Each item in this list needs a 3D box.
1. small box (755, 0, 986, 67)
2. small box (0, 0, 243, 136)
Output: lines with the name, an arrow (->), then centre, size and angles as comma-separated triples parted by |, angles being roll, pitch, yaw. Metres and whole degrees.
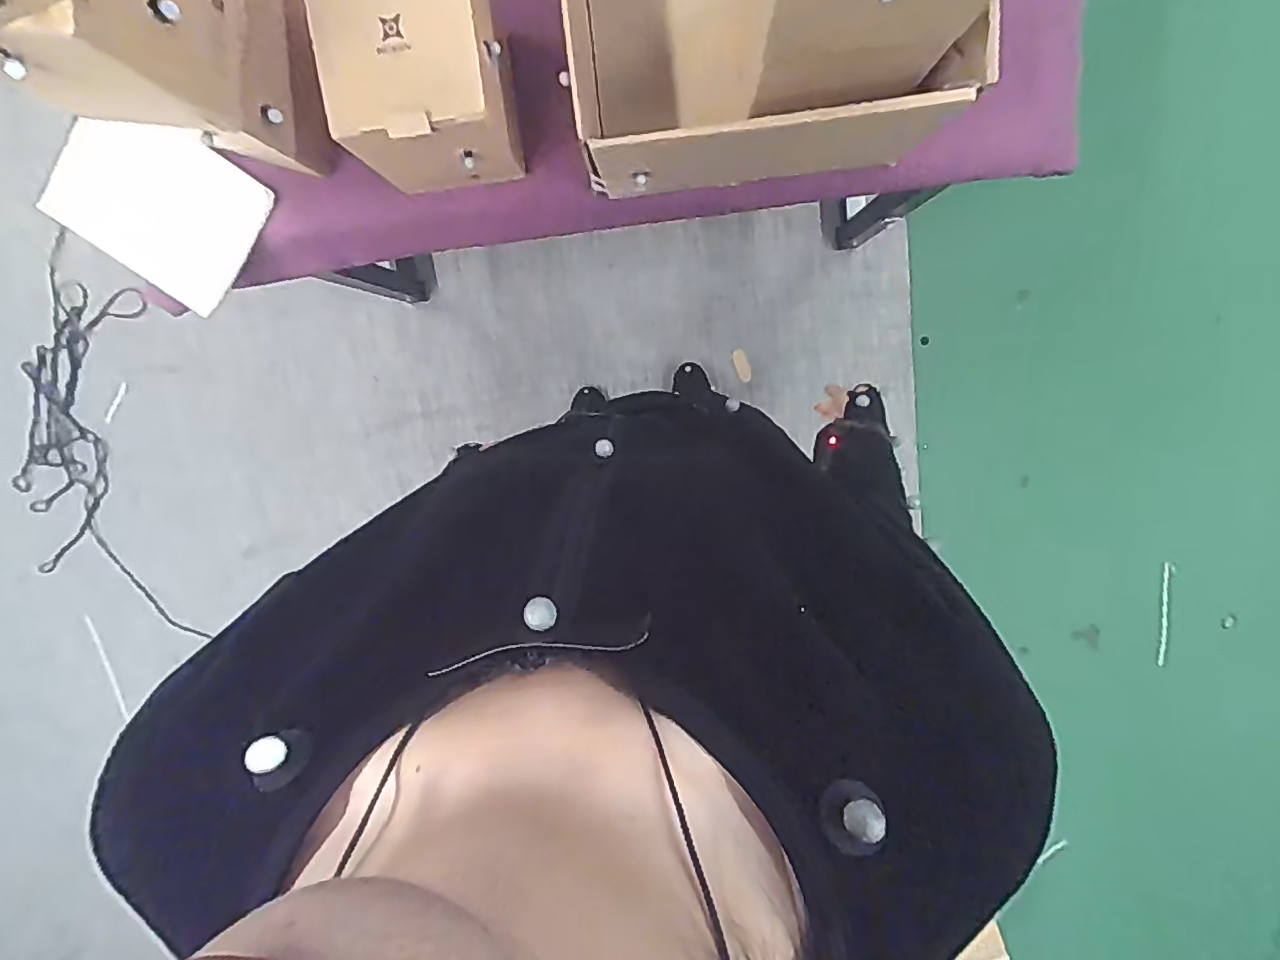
small box -> 0.179, -0.436, 0.383 | 0.179, 0.176, 0.168 | -3, 100, 6
small box -> -0.482, -0.425, 0.468 | 0.179, 0.176, 0.168 | 7, 101, 2
